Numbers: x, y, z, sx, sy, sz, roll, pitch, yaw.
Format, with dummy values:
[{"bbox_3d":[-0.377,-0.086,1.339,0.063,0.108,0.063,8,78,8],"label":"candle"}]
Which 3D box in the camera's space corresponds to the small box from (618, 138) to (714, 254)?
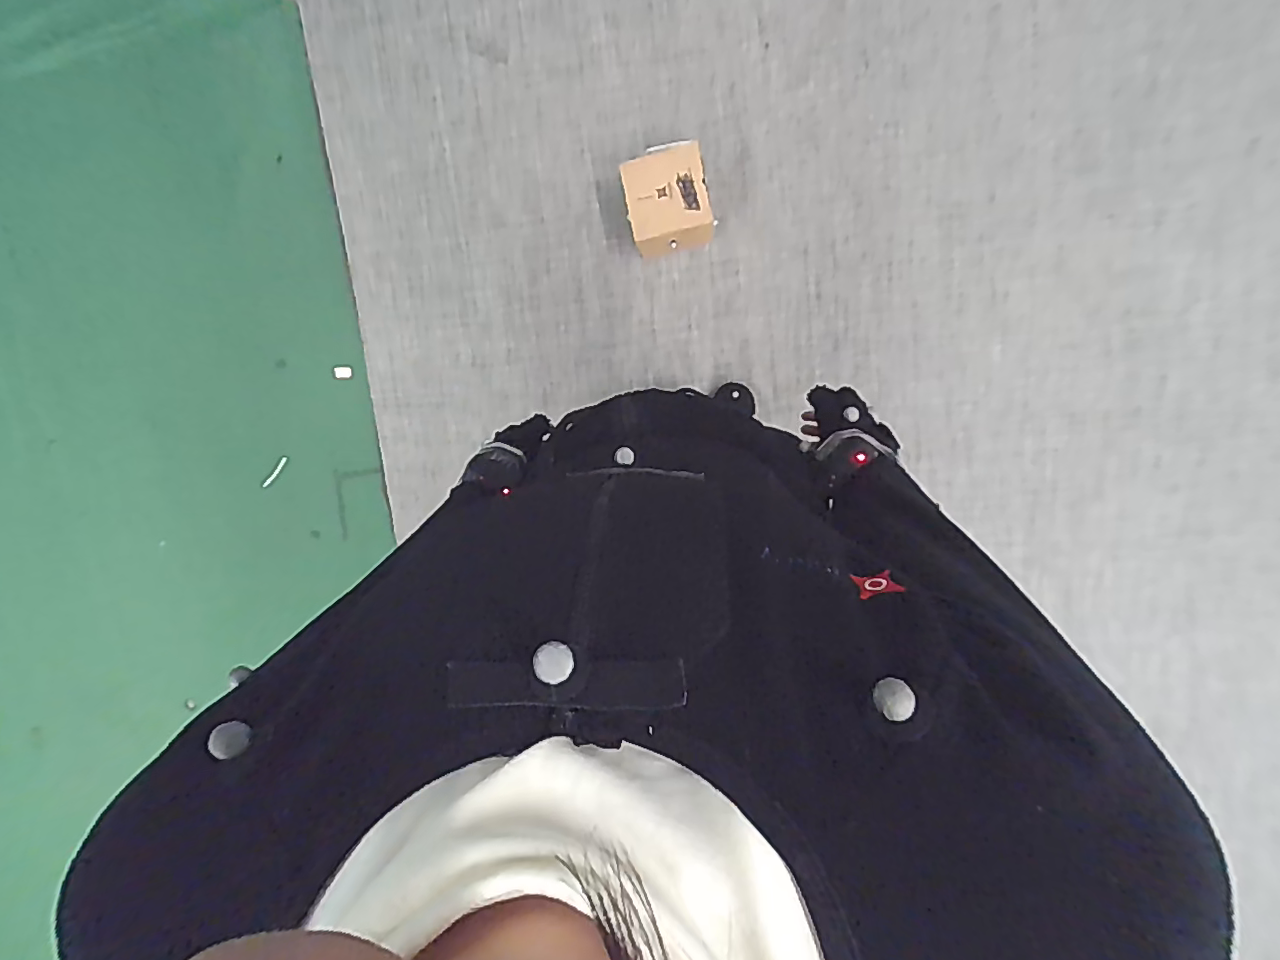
[{"bbox_3d":[0.063,-0.637,1.235,0.179,0.176,0.168,-14,98,9],"label":"small box"}]
